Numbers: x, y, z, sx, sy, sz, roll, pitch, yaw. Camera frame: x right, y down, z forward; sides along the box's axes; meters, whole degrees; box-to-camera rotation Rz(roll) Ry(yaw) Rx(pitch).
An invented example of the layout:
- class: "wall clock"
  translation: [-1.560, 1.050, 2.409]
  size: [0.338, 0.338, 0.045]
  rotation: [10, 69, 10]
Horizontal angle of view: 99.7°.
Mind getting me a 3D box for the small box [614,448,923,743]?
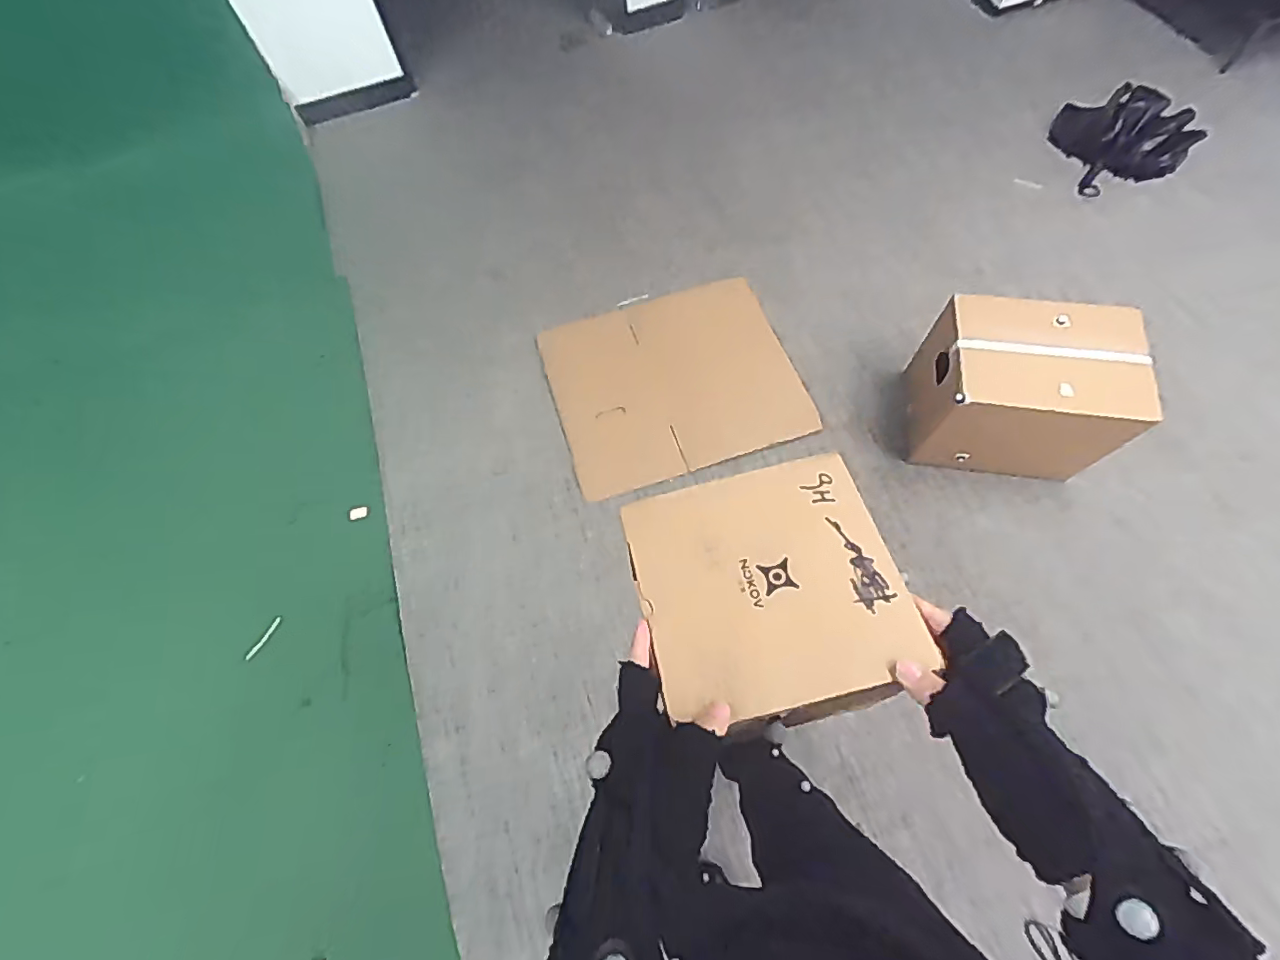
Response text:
- class: "small box"
  translation: [0.092, 0.105, 0.454]
  size: [0.179, 0.176, 0.168]
  rotation: [-17, 58, -3]
